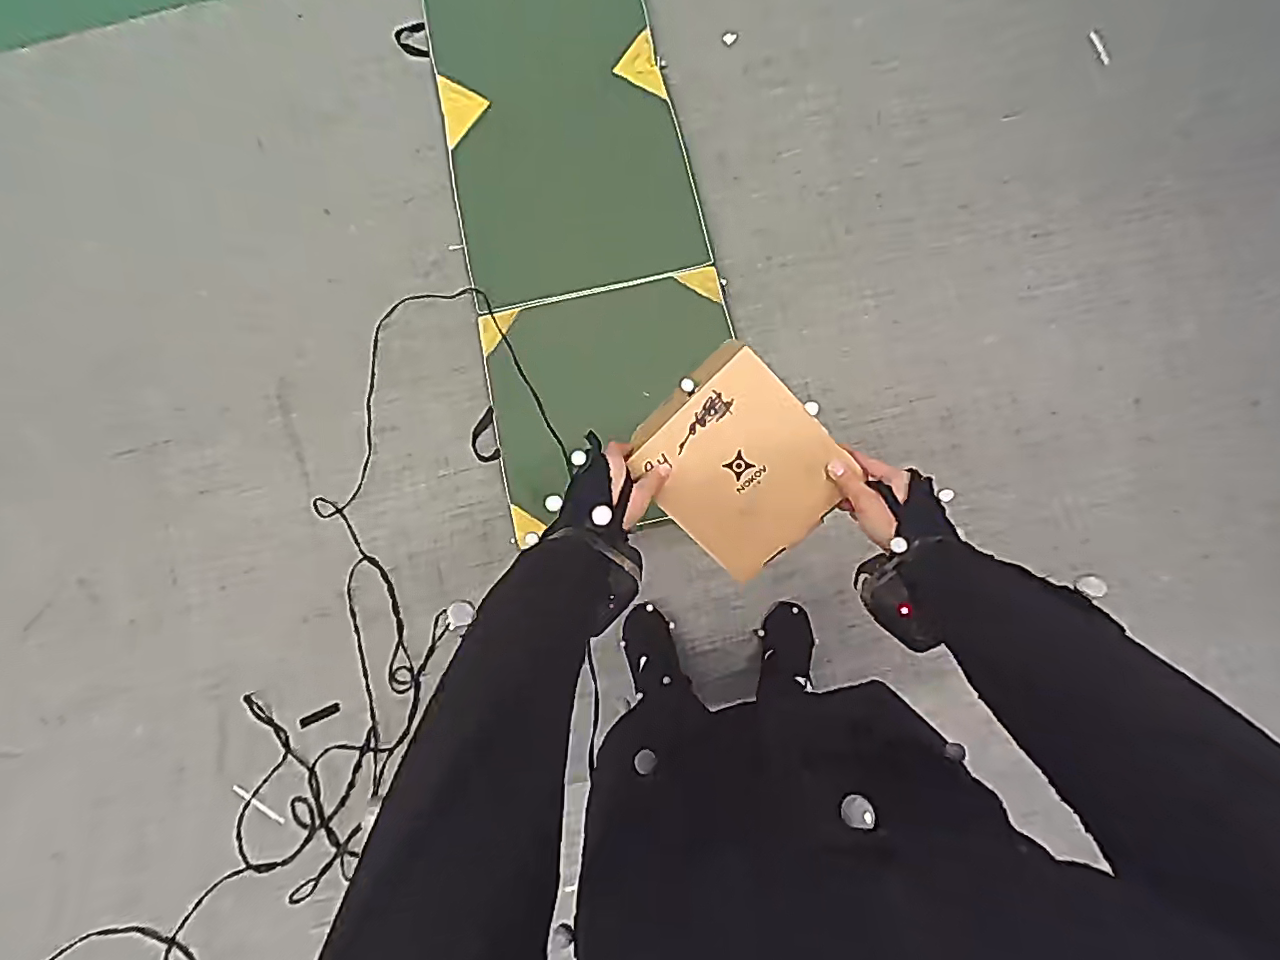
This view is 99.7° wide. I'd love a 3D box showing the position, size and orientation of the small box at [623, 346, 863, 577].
[{"bbox_3d":[0.105,-0.033,0.599,0.179,0.176,0.168,44,104,-9],"label":"small box"}]
